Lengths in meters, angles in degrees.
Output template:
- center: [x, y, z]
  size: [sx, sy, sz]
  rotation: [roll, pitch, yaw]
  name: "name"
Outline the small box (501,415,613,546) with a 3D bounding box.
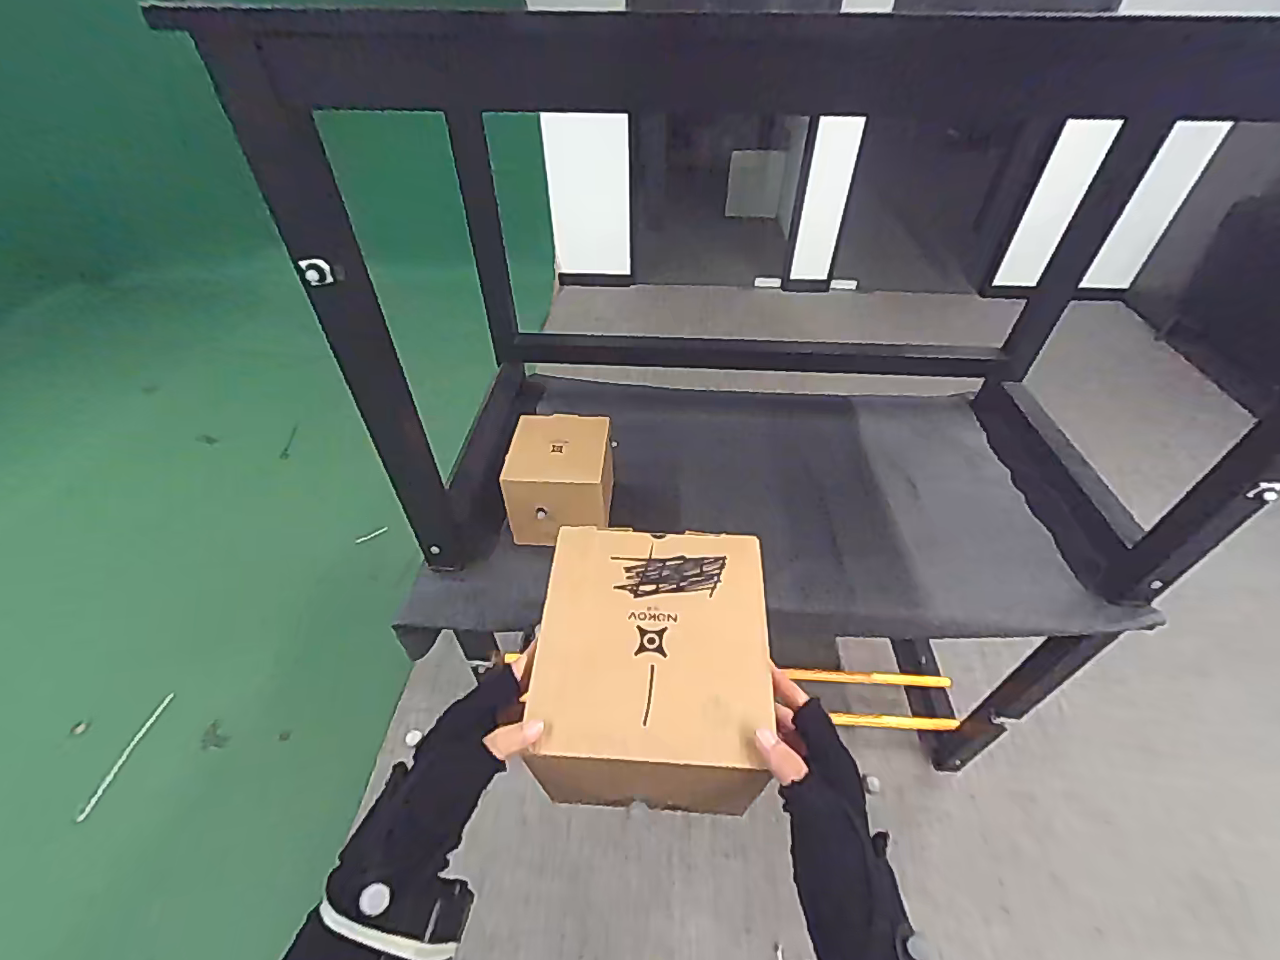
- center: [-0.138, 0.002, 0.973]
  size: [0.168, 0.176, 0.179]
  rotation: [2, 43, 2]
  name: "small box"
